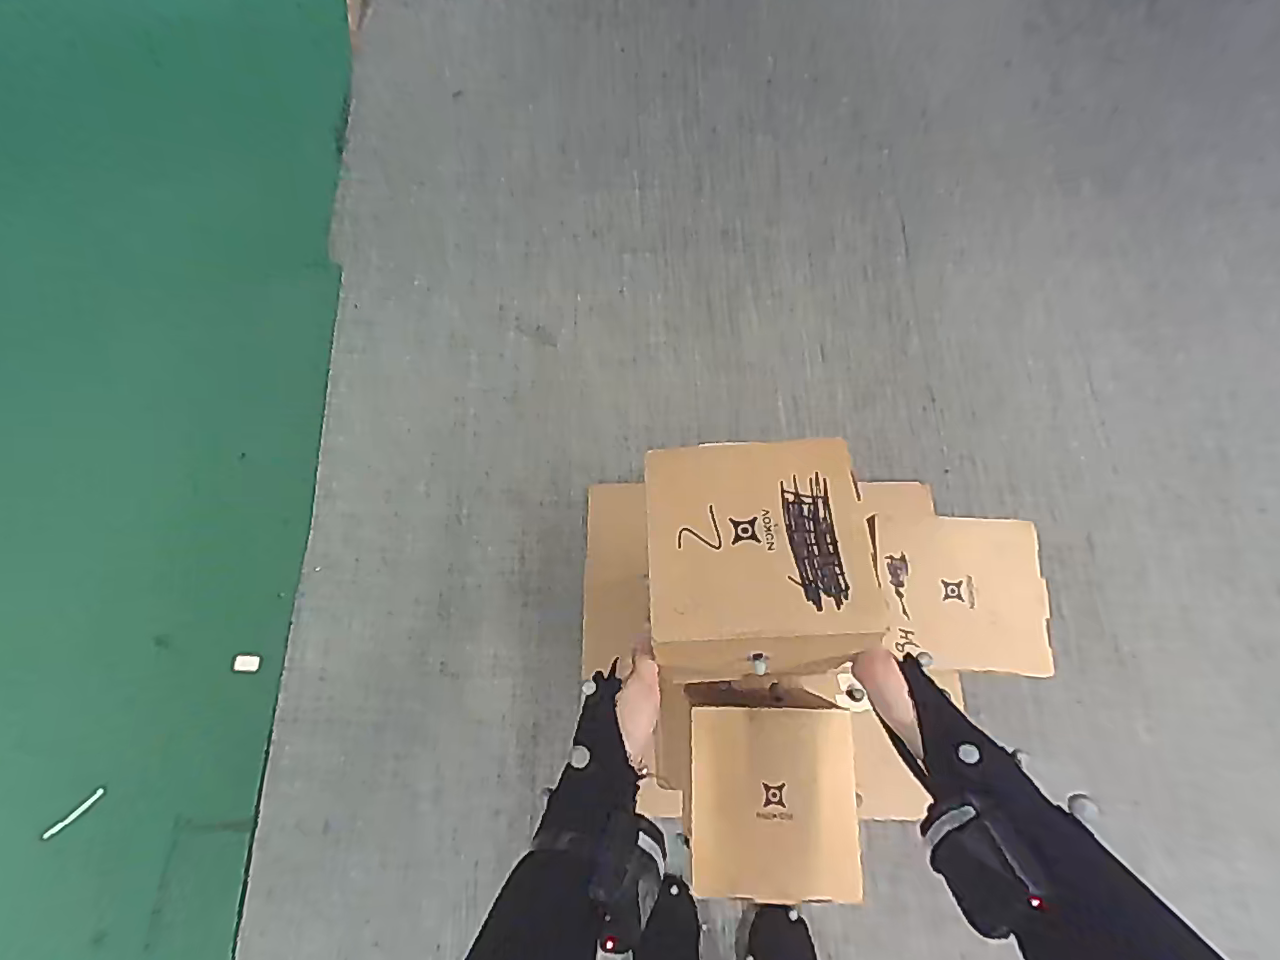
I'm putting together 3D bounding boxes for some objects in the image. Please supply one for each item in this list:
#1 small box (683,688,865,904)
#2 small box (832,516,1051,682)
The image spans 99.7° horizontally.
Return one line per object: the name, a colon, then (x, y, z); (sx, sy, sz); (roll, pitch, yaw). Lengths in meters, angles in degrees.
small box: (0.135, 0.336, 0.611); (0.168, 0.176, 0.179); (1, 76, 1)
small box: (0.346, 0.144, 0.657); (0.179, 0.176, 0.168); (3, 74, 4)
